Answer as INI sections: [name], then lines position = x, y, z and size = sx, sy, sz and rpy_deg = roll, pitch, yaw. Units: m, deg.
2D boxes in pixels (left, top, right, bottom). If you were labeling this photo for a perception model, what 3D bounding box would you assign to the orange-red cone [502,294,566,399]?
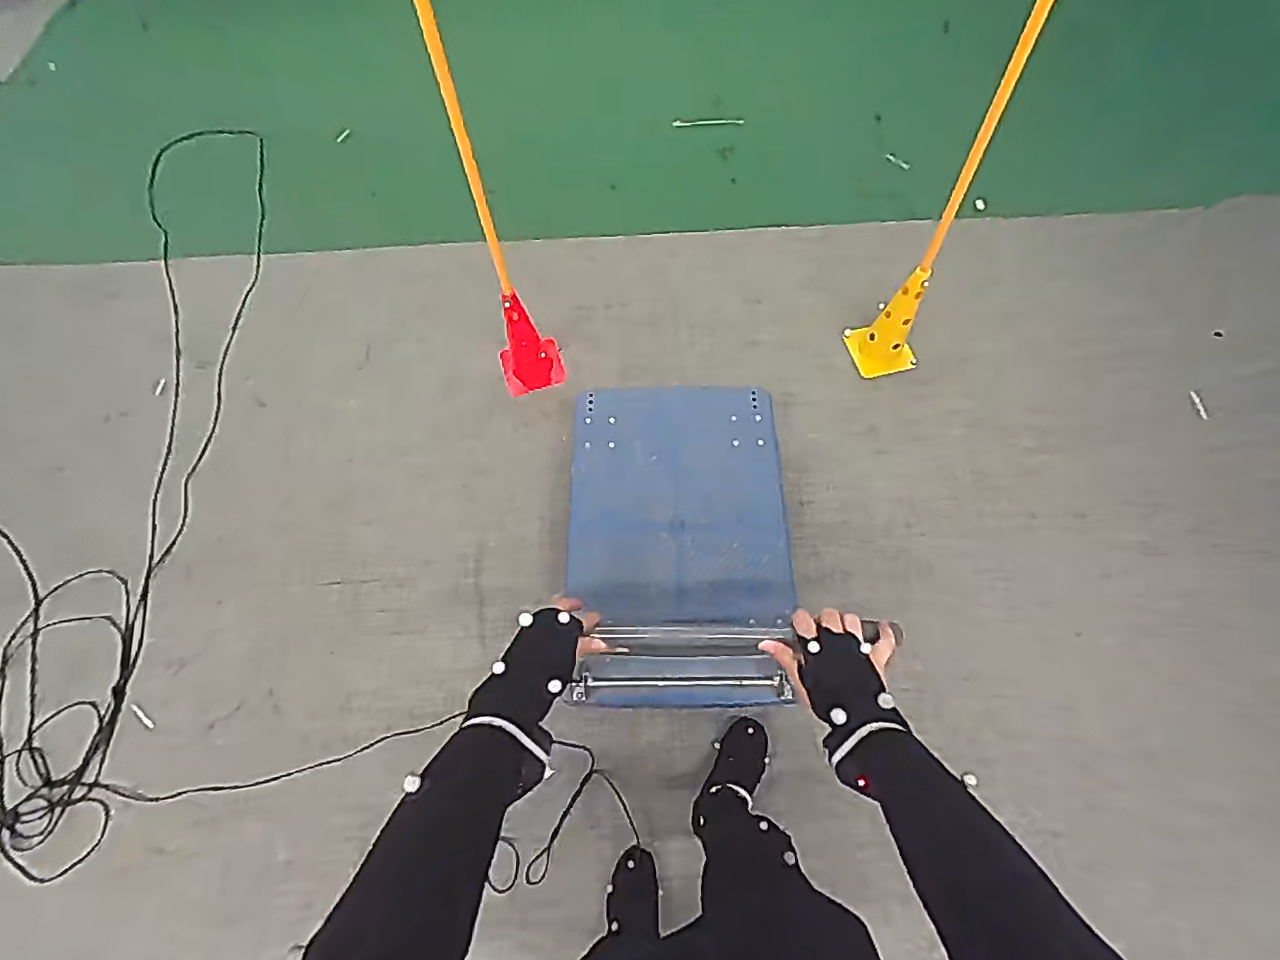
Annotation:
[orange-red cone]
position = -0.371, -0.444, 1.701
size = 0.199, 0.360, 0.198
rpy_deg = -17, 65, -4
